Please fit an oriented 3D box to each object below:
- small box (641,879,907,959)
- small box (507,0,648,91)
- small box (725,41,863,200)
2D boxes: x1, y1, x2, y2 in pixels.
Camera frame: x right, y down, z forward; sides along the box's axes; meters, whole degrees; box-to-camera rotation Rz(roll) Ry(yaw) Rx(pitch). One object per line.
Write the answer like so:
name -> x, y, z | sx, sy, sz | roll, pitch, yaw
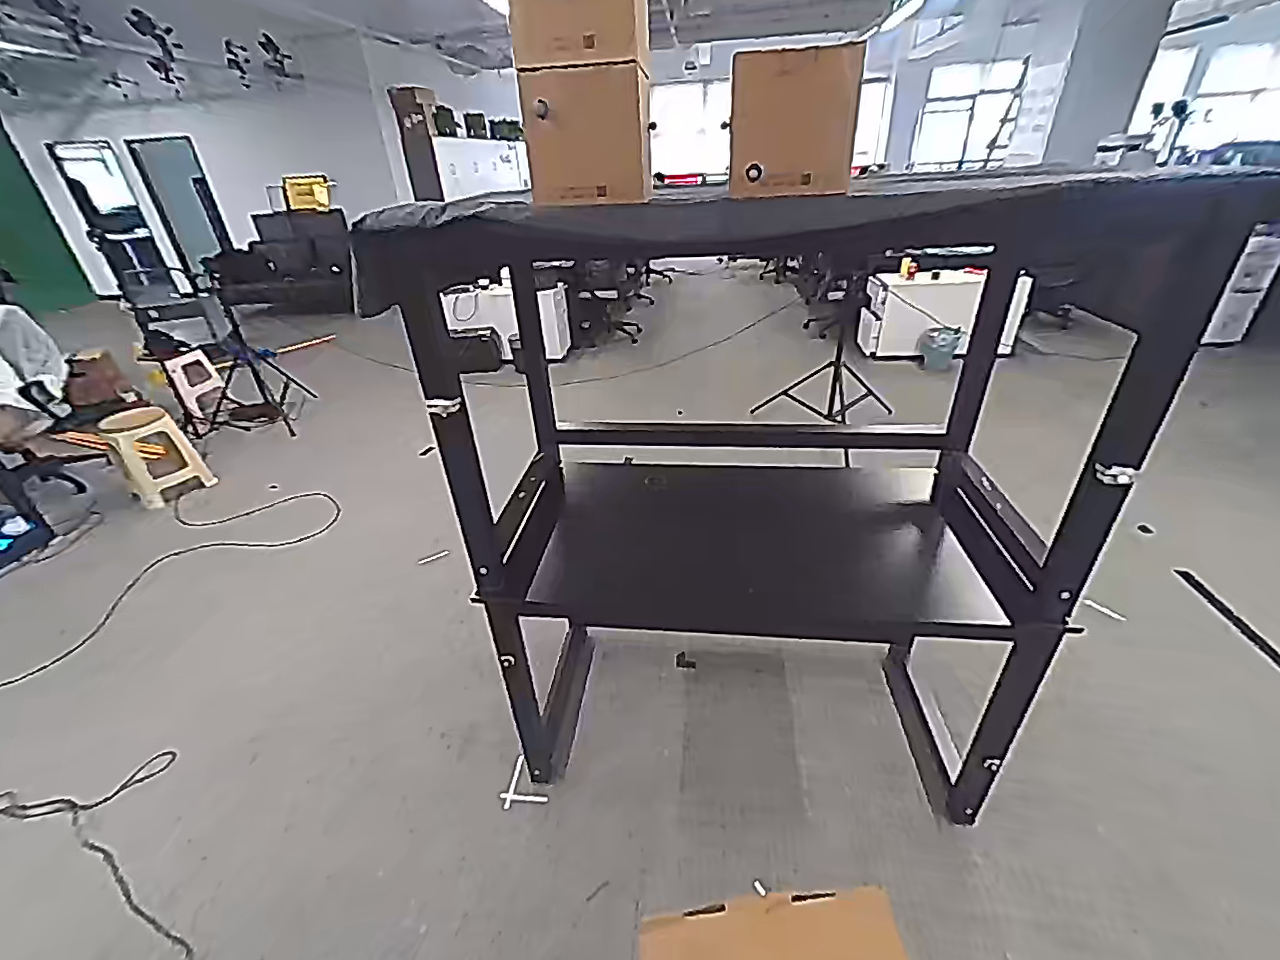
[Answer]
small box -> 0.094, 0.392, 0.352 | 0.168, 0.176, 0.179 | -8, 43, 1
small box -> -0.080, -0.652, 0.740 | 0.168, 0.176, 0.179 | 1, 29, 7
small box -> 0.212, -0.508, 0.786 | 0.168, 0.176, 0.179 | 2, 29, 8
